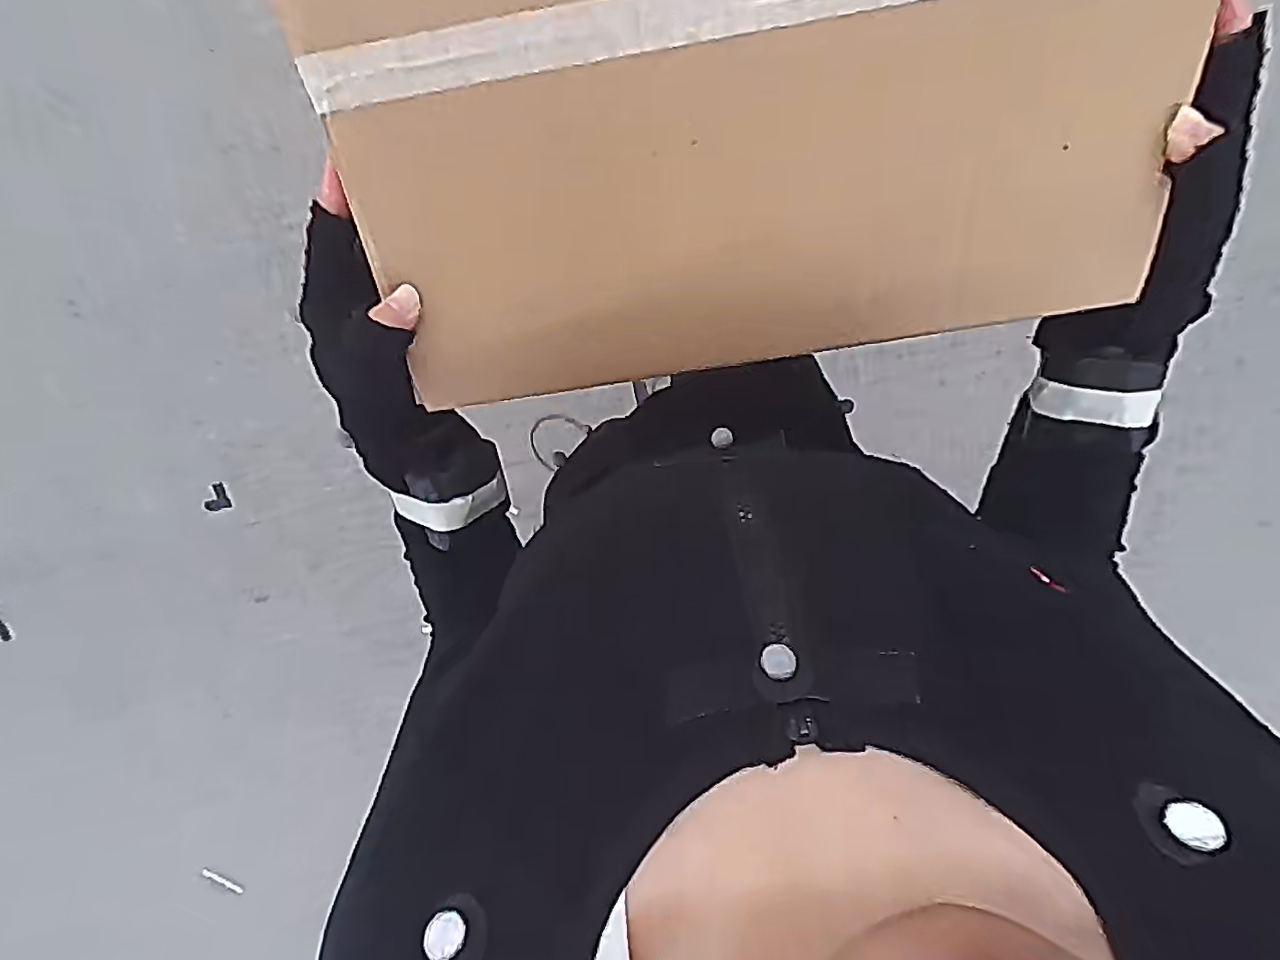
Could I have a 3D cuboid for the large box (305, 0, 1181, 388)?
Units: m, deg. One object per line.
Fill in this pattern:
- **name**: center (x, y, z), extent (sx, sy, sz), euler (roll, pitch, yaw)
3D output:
- **large box**: center (0.043, -0.285, 0.381), extent (0.408, 0.320, 0.320), euler (-9, 117, 2)
